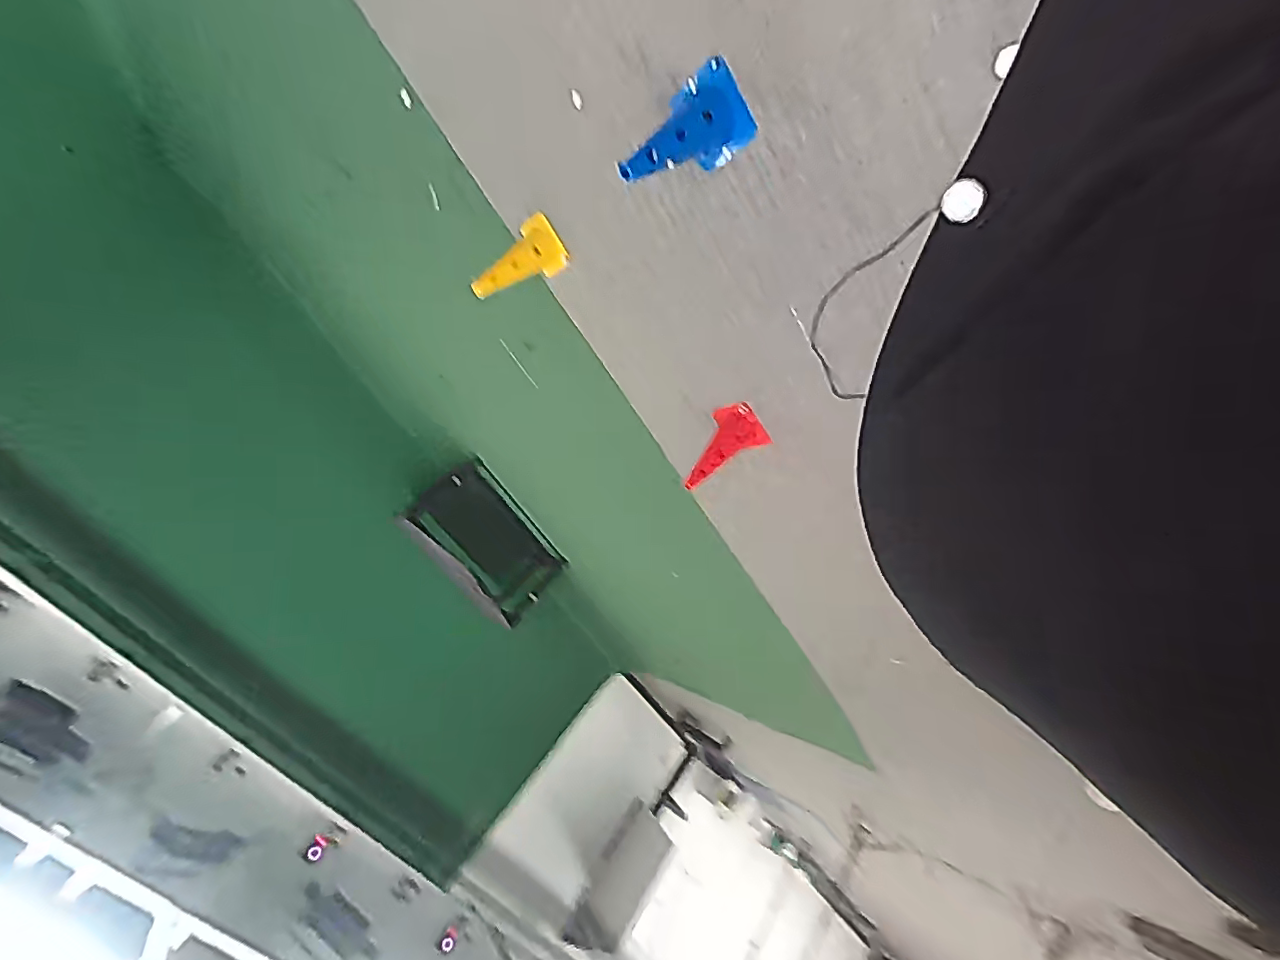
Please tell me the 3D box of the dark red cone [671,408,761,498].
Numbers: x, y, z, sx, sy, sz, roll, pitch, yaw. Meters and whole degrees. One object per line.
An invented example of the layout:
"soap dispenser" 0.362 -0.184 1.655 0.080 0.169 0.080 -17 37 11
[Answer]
"dark red cone" 0.245 -0.078 1.983 0.202 0.394 0.201 51 155 -14

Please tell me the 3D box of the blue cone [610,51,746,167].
"blue cone" 0.066 -0.819 1.277 0.193 0.380 0.192 -3 127 54
